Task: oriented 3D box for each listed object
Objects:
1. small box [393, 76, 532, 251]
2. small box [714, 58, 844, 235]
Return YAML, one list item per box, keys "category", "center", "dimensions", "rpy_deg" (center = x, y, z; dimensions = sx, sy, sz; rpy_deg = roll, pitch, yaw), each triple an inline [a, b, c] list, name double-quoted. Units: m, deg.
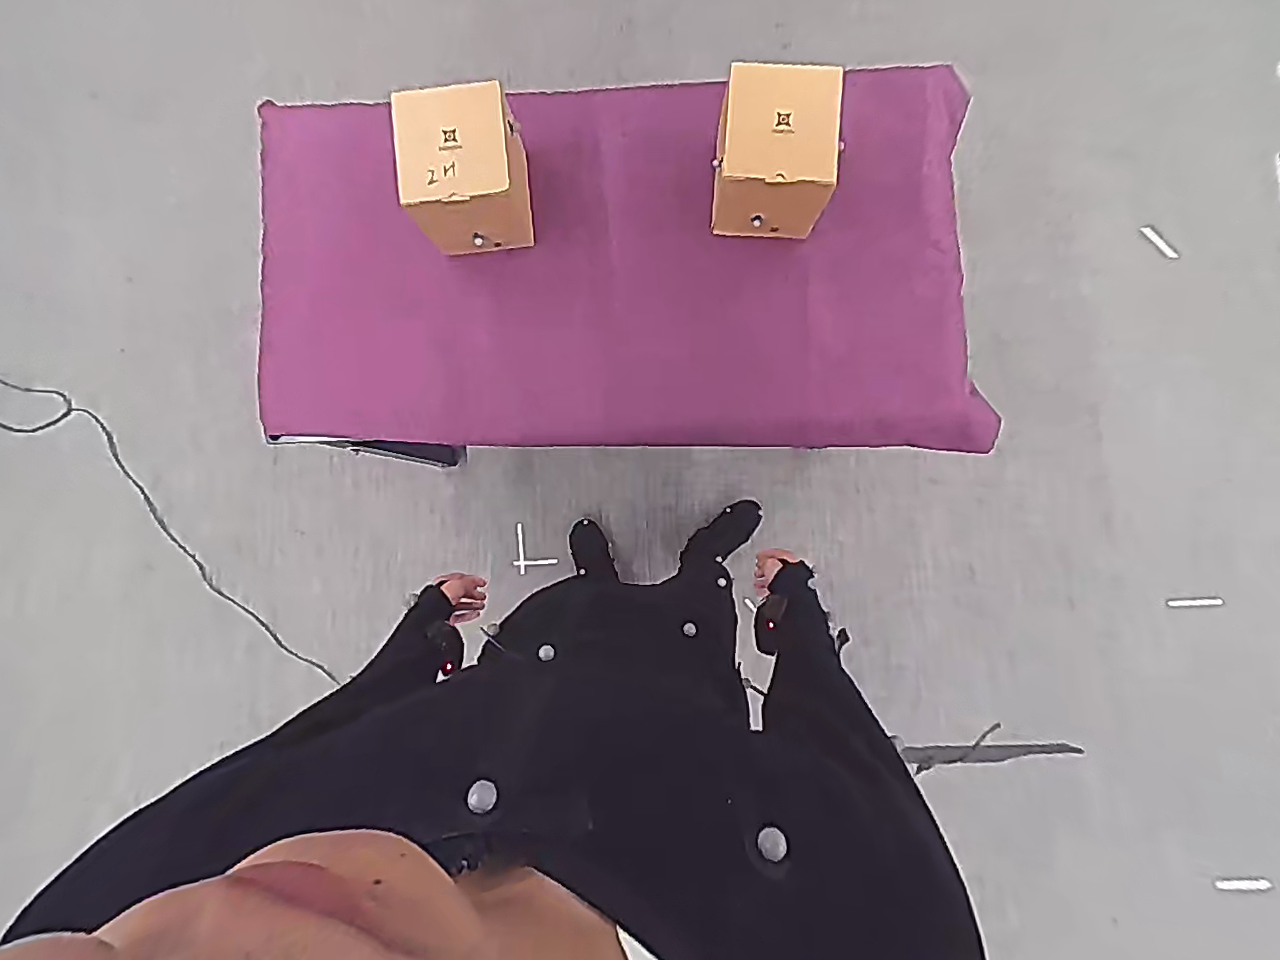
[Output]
- category: "small box"
  center: [-0.276, -0.498, 0.872]
  dimensions: [0.168, 0.176, 0.179]
  rpy_deg: [-6, 87, 1]
- category: "small box"
  center: [0.211, -0.520, 0.861]
  dimensions: [0.168, 0.176, 0.179]
  rpy_deg: [4, 88, 2]
